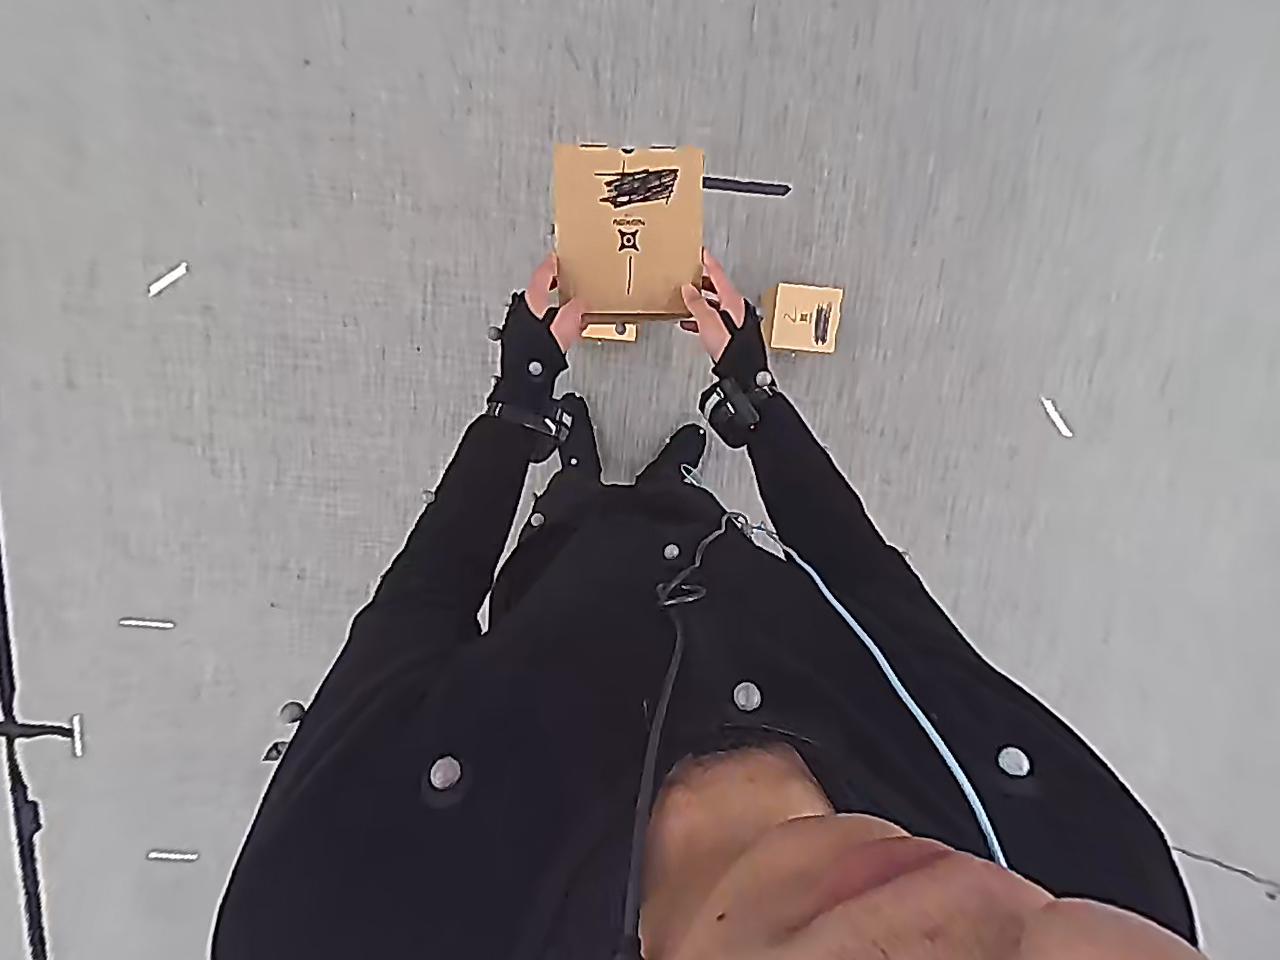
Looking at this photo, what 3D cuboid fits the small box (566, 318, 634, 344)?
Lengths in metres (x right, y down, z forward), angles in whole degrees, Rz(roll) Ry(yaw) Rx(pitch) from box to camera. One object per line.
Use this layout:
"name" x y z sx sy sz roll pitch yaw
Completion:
"small box" -0.104 -0.465 1.473 0.179 0.176 0.168 4 100 -3

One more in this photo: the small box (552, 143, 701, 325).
"small box" -0.021 -0.291 0.675 0.168 0.176 0.179 -2 103 -4
